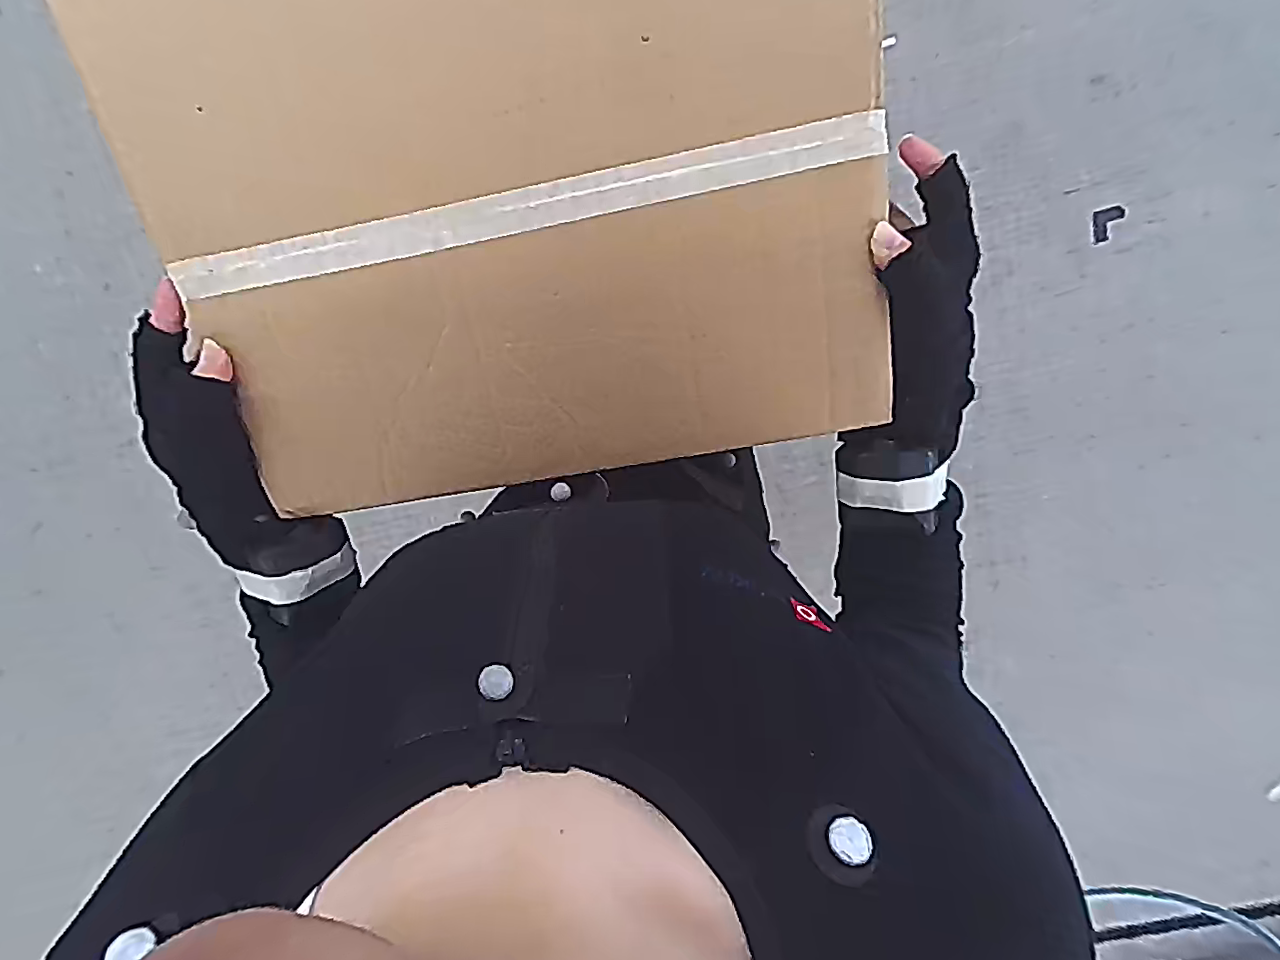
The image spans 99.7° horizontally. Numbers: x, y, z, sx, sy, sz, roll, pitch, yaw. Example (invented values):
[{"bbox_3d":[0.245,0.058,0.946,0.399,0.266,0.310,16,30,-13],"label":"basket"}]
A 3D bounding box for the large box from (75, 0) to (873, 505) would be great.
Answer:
[{"bbox_3d":[-0.068,-0.208,0.448,0.408,0.320,0.320,-9,109,5],"label":"large box"}]
